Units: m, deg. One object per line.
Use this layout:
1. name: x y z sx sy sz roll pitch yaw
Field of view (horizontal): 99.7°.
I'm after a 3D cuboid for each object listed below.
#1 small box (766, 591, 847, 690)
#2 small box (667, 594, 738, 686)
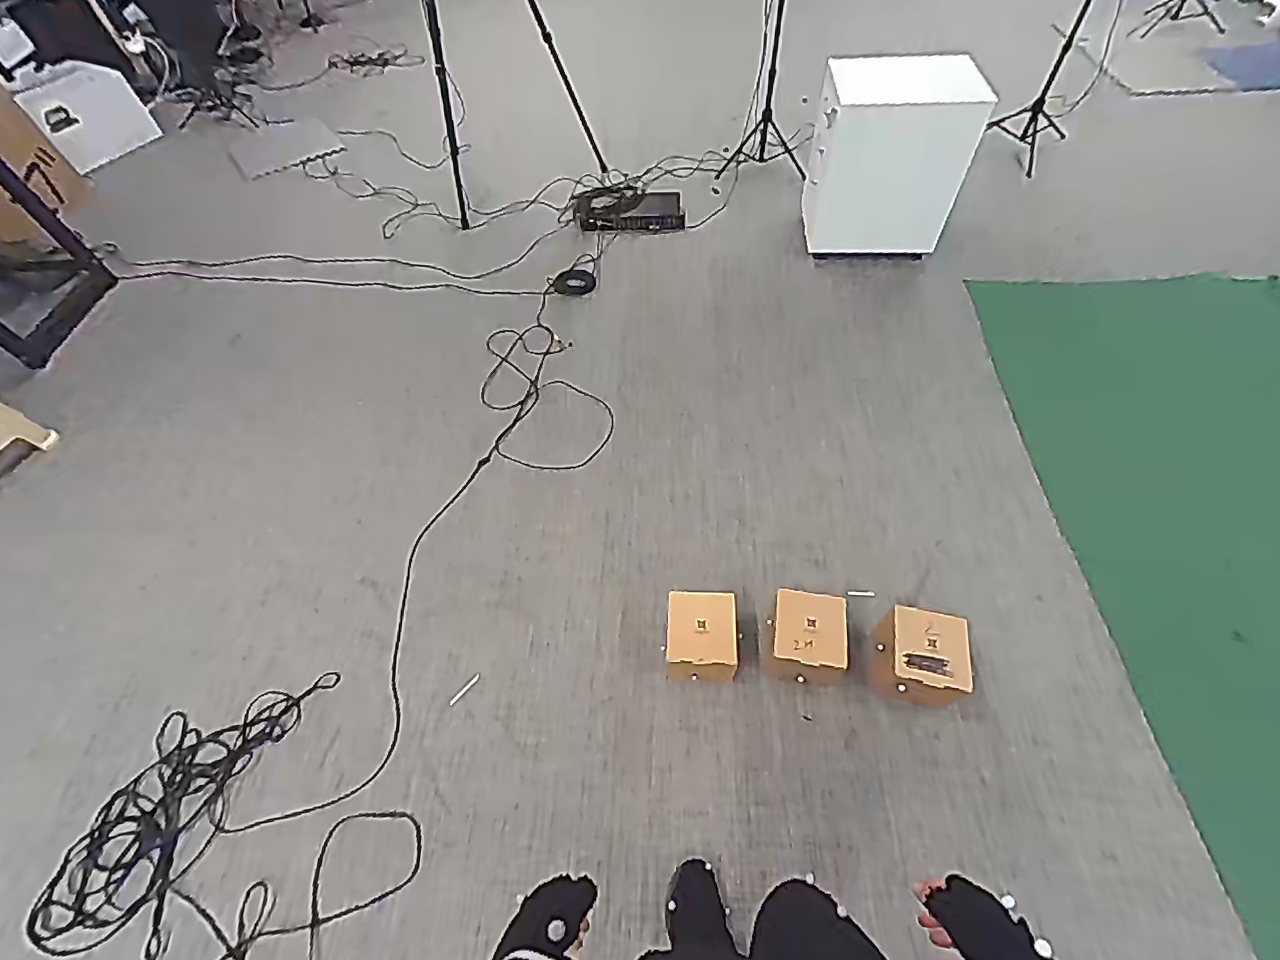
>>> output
1. small box: 0.410 0.402 1.346 0.168 0.176 0.179 7 57 10
2. small box: 0.154 0.405 1.363 0.168 0.176 0.179 1 56 5
